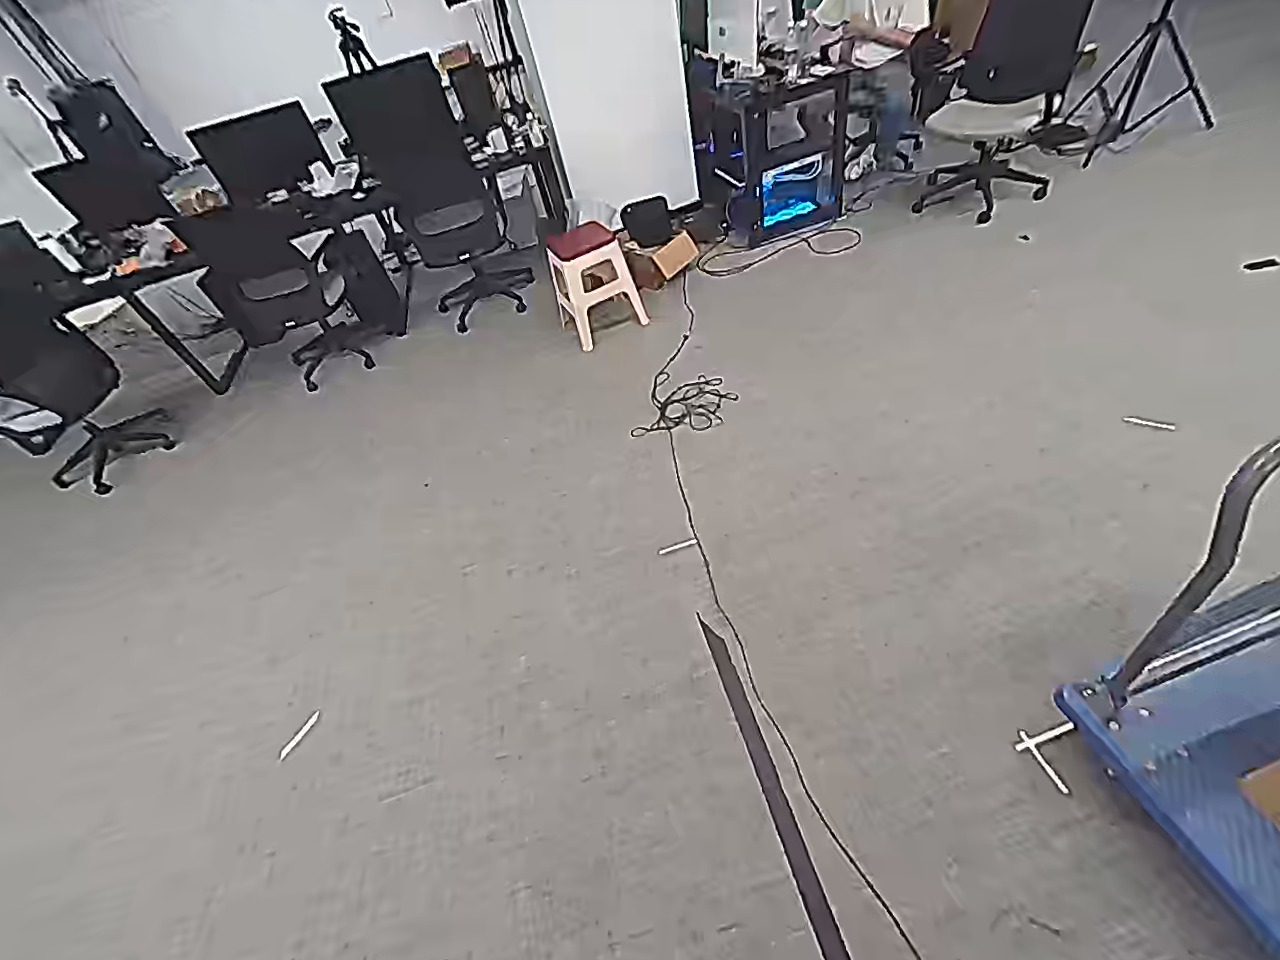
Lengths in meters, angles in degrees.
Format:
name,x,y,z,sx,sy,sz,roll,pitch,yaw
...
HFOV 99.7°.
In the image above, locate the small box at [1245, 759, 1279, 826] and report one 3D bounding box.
name,x,y,z,sx,sy,sz,roll,pitch,yaw
small box,1.189,0.530,0.889,0.179,0.176,0.168,-18,45,0
